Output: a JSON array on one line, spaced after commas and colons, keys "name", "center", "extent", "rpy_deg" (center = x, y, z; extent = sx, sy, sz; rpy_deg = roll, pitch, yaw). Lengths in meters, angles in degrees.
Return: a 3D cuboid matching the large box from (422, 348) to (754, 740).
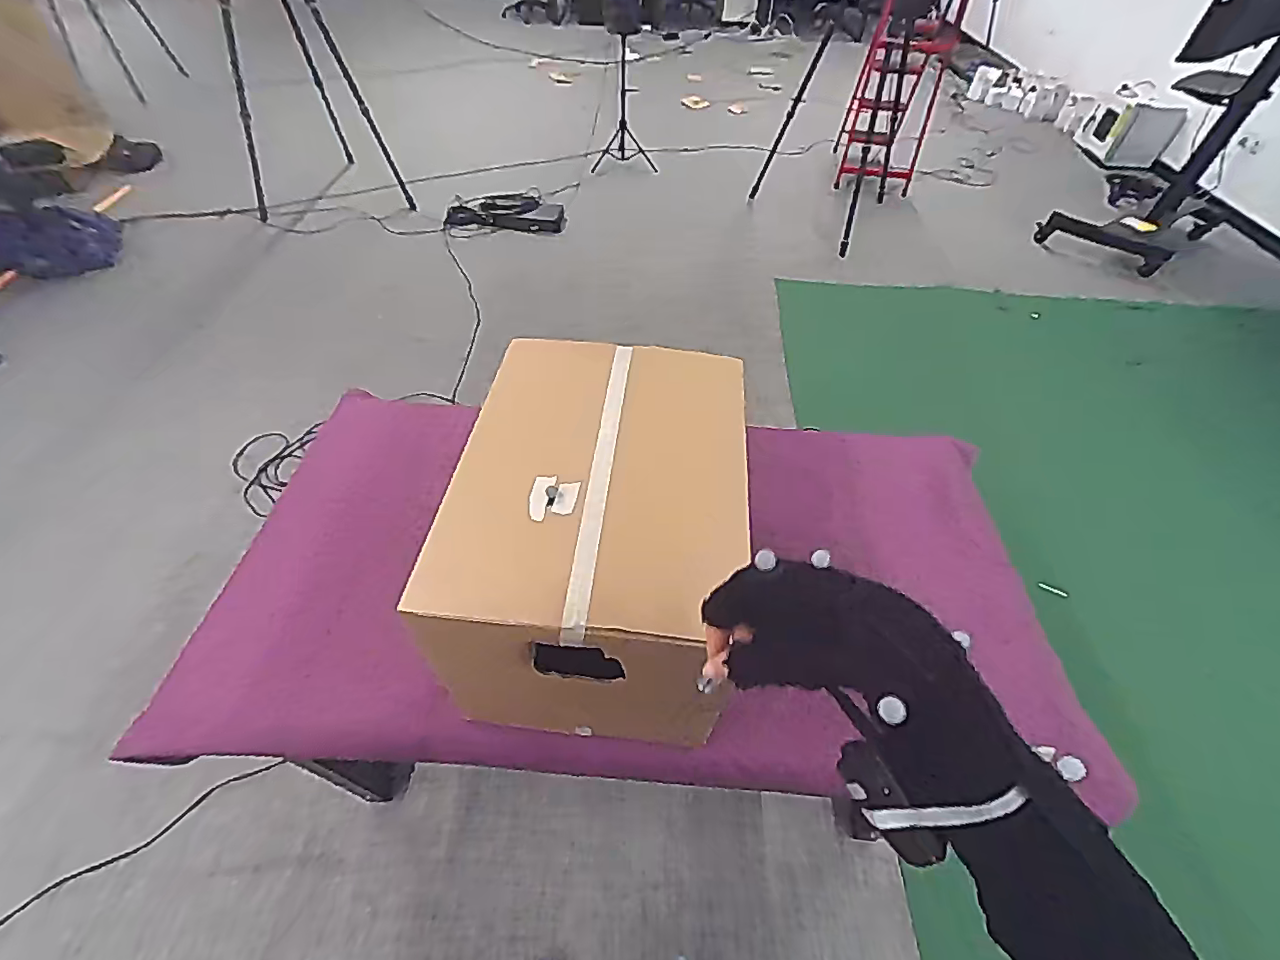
[{"name": "large box", "center": [-0.040, 0.082, 0.725], "extent": [0.320, 0.320, 0.408], "rpy_deg": [6, 50, 2]}]
